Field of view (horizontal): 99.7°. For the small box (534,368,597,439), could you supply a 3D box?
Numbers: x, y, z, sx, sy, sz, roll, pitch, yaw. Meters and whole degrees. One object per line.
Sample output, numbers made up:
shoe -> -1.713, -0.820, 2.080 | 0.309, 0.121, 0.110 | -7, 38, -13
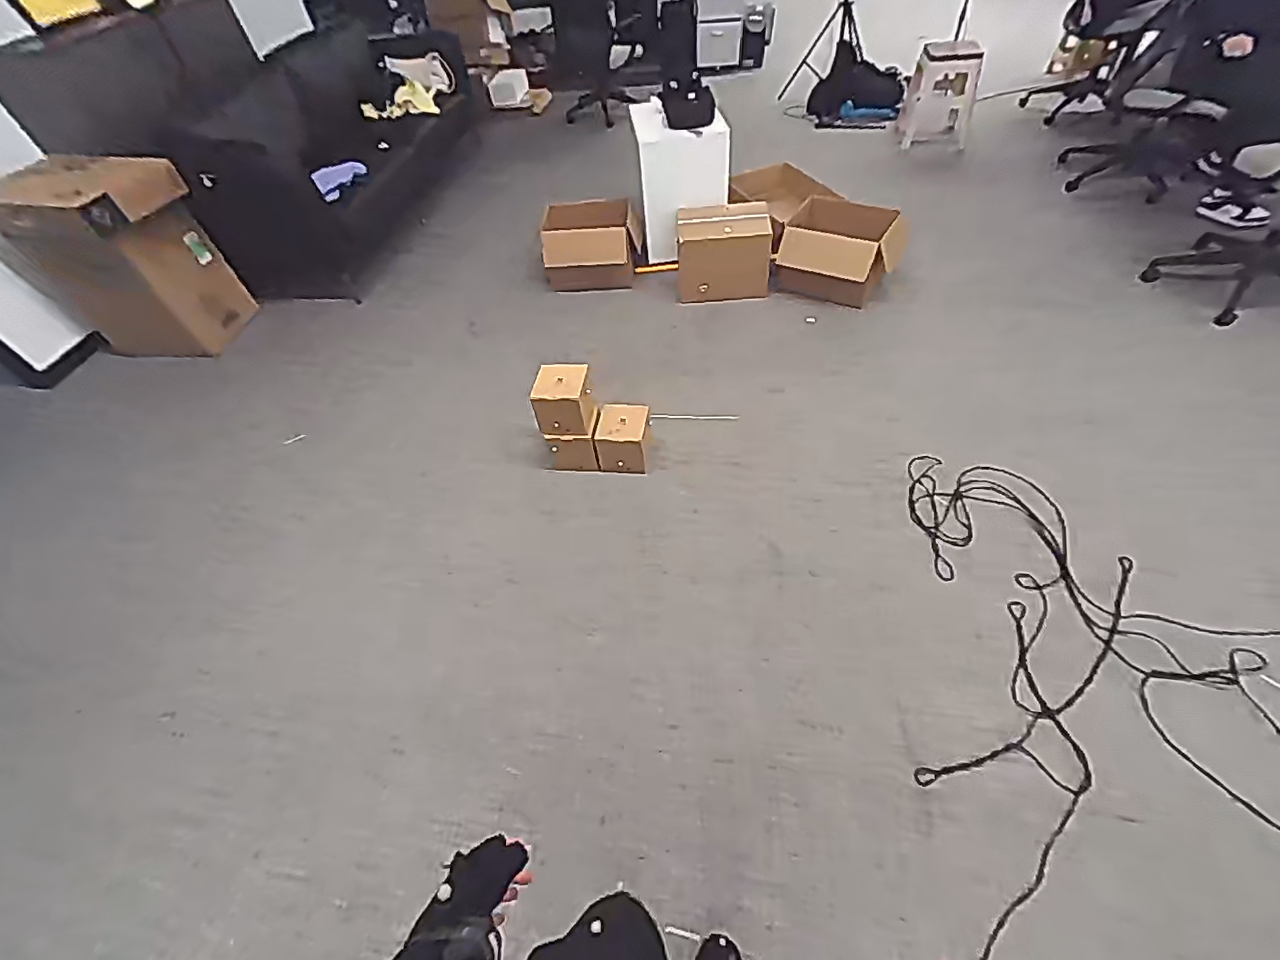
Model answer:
small box -> -0.245, -0.261, 1.840 | 0.168, 0.176, 0.179 | 2, 50, 8
